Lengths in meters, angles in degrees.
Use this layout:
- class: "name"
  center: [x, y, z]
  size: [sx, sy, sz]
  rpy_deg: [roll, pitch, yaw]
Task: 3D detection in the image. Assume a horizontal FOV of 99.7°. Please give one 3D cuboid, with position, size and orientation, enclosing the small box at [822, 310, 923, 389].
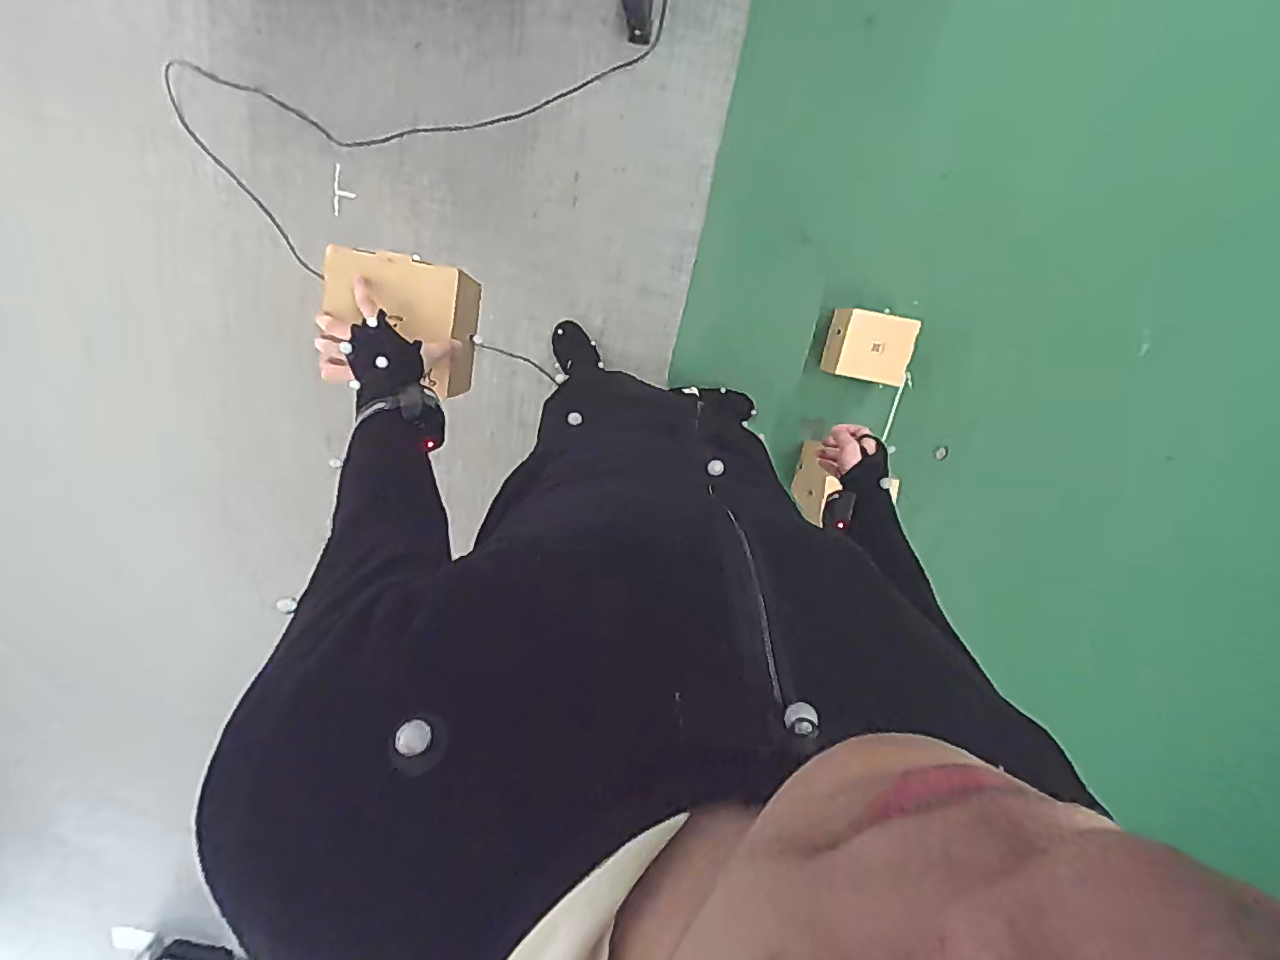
- class: "small box"
  center: [0.601, -0.345, 1.426]
  size: [0.179, 0.176, 0.168]
  rpy_deg: [11, 107, 0]

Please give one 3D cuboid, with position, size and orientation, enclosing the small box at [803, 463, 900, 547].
- class: "small box"
  center: [0.530, 0.057, 1.378]
  size: [0.179, 0.176, 0.168]
  rpy_deg: [4, 106, 4]

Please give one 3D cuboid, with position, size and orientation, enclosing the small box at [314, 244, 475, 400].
- class: "small box"
  center: [-0.347, -0.222, 0.793]
  size: [0.168, 0.176, 0.179]
  rpy_deg: [9, 101, -7]
